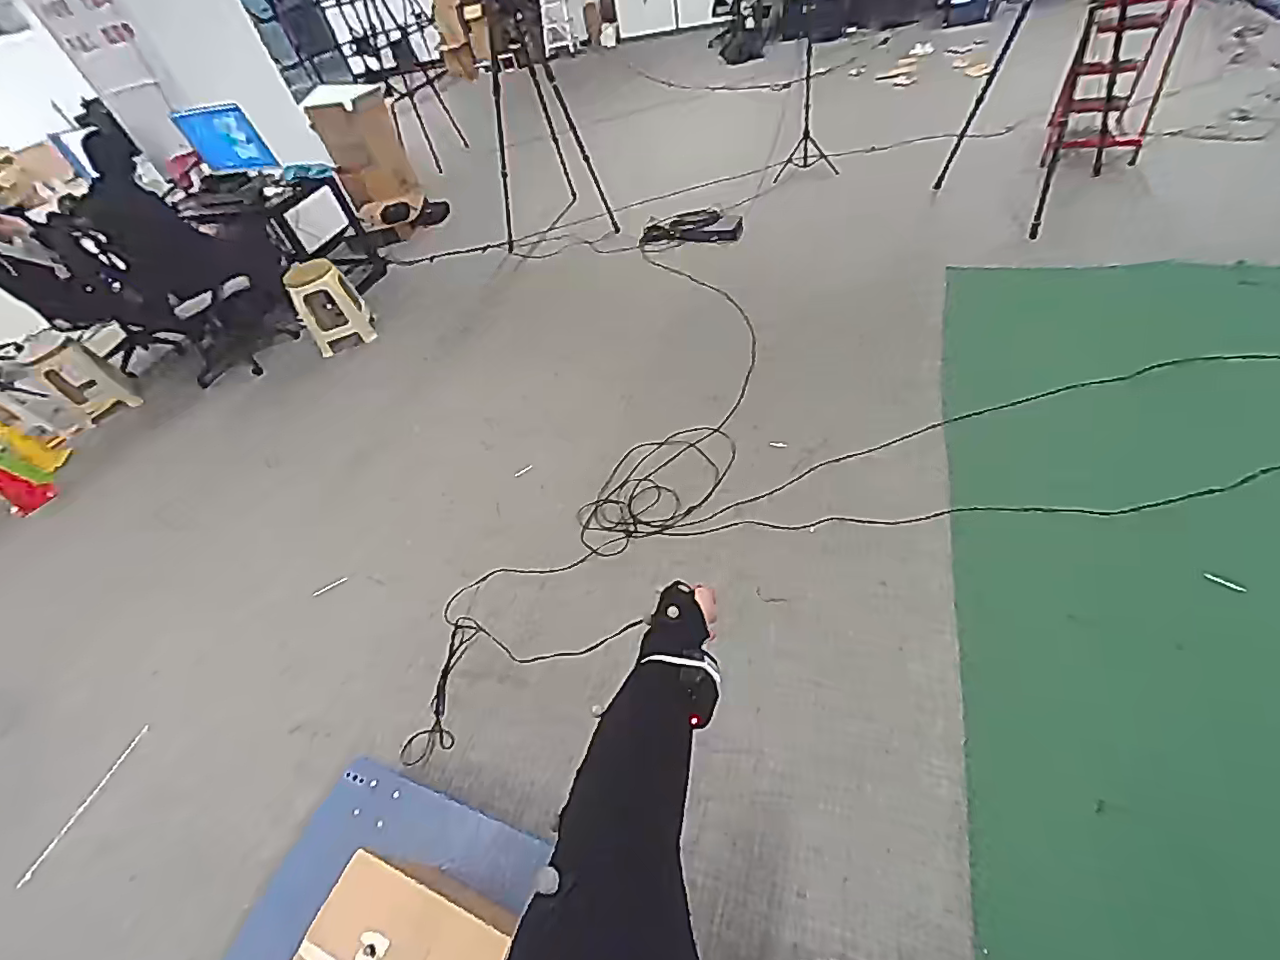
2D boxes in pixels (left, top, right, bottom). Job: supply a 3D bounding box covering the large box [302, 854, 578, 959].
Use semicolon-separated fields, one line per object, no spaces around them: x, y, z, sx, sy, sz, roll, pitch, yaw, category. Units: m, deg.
-0.385;0.971;1.007;0.408;0.320;0.320;10;51;23;large box
